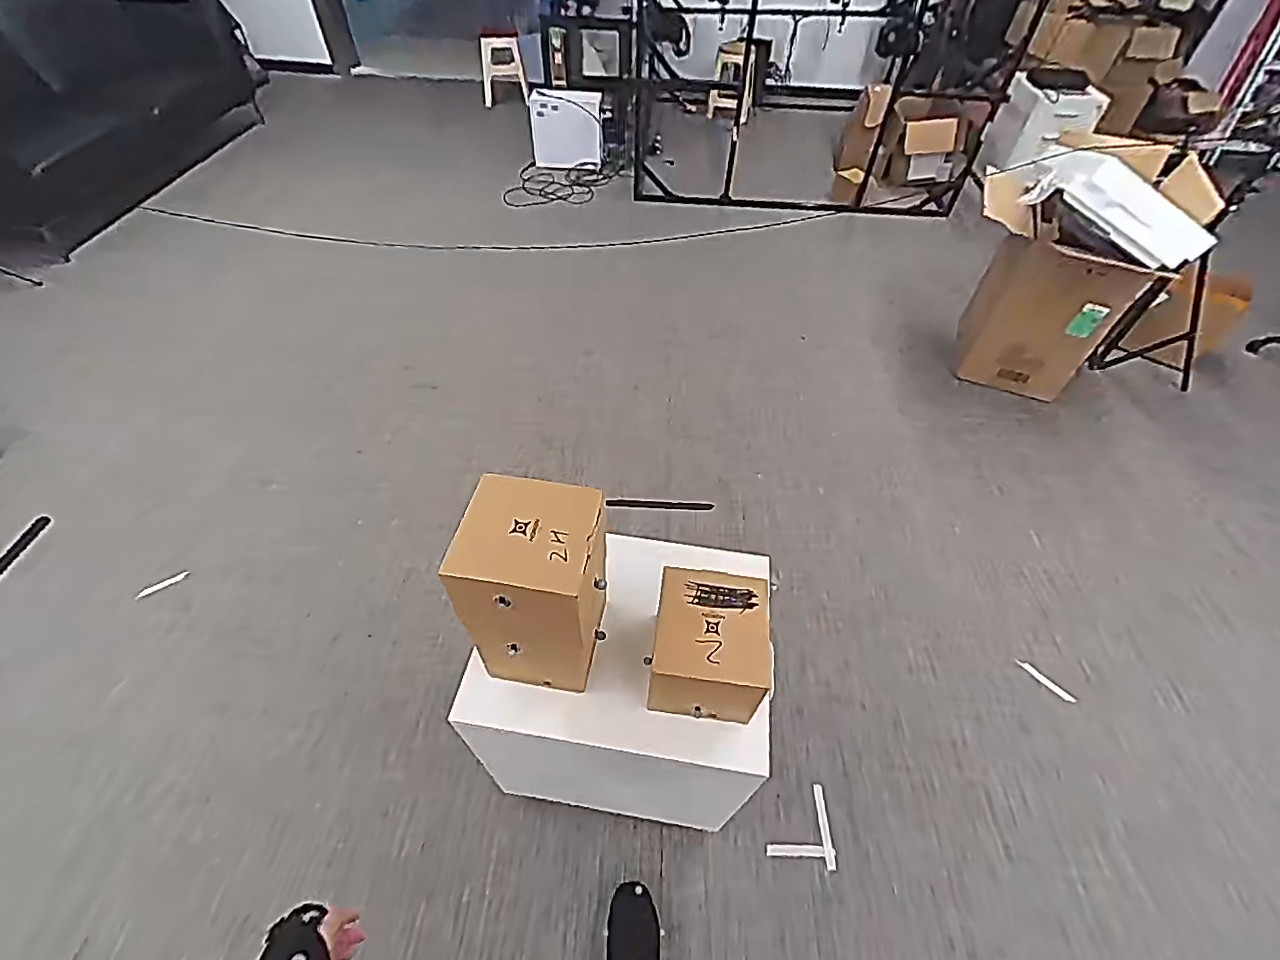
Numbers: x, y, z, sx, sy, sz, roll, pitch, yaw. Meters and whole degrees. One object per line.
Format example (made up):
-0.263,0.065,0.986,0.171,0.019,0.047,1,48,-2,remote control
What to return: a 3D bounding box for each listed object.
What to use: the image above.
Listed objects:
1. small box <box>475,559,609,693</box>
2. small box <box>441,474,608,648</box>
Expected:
-0.149,0.220,0.882,0.168,0.176,0.179,9,49,5,small box
-0.145,0.117,0.754,0.179,0.176,0.168,9,51,4,small box
